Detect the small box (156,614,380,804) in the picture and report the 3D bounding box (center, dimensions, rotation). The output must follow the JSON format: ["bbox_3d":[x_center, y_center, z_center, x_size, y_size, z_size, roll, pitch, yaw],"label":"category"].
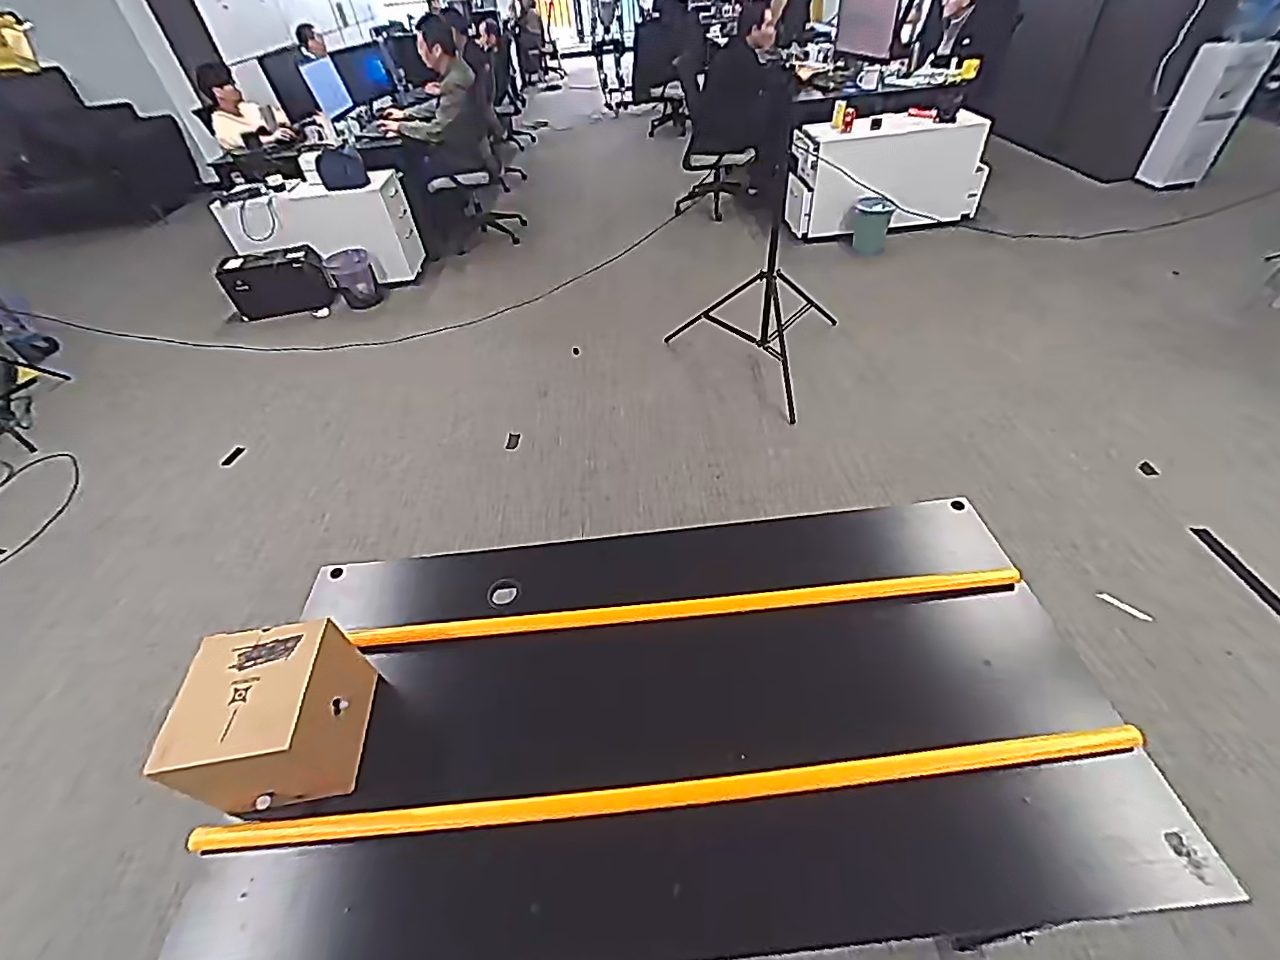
[{"bbox_3d":[-0.477,0.310,0.734,0.168,0.176,0.179,-9,46,-3],"label":"small box"}]
